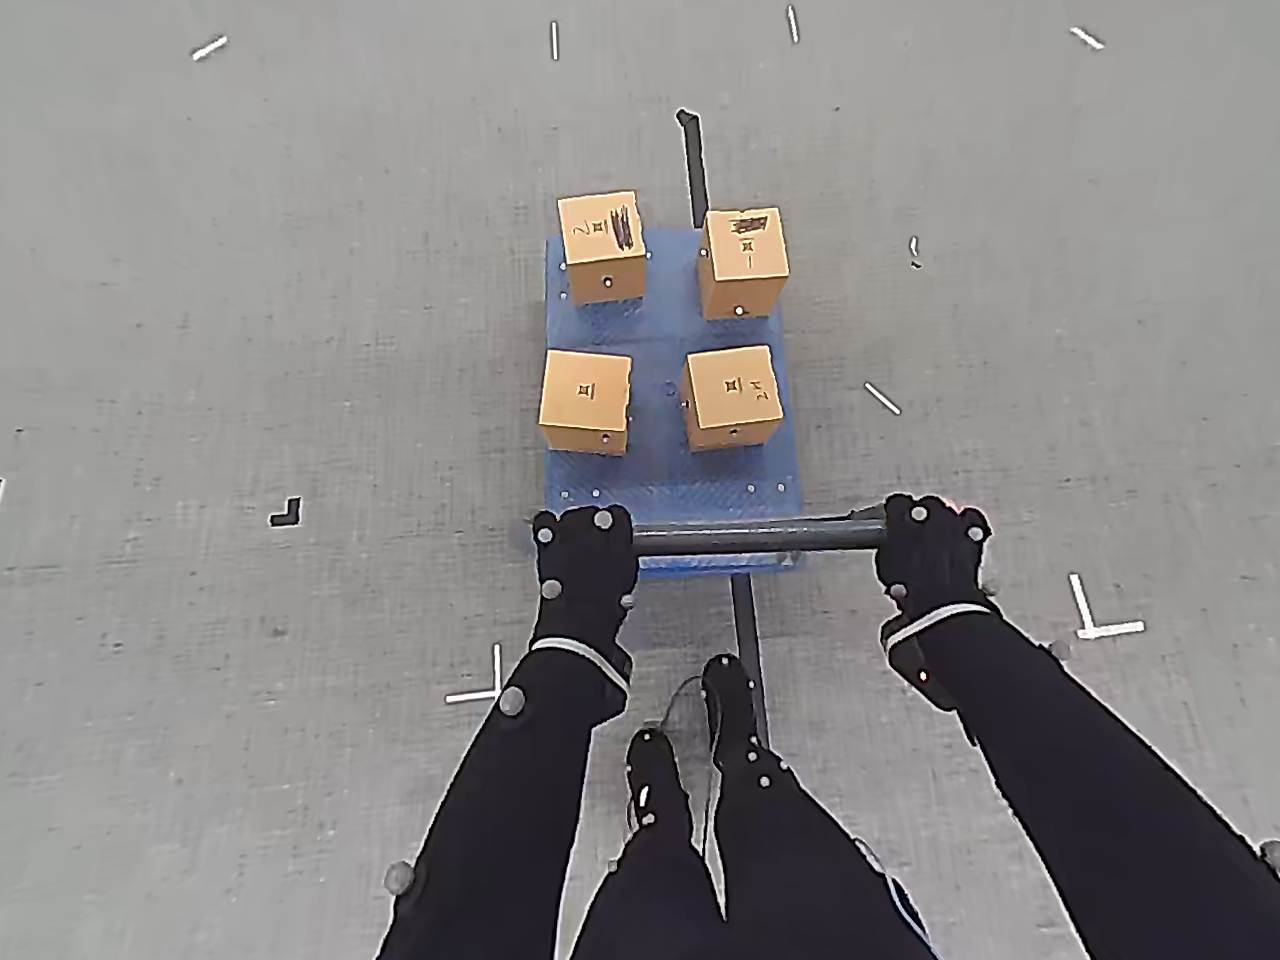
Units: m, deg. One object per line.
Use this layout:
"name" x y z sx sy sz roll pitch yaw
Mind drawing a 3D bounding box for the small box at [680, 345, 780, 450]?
"small box" 0.185 -0.172 1.176 0.179 0.176 0.168 -7 77 -3

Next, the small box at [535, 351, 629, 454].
"small box" -0.119 -0.160 1.163 0.179 0.176 0.168 4 76 -2

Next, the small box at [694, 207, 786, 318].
"small box" 0.224 -0.500 1.255 0.168 0.176 0.179 -5 78 -3
